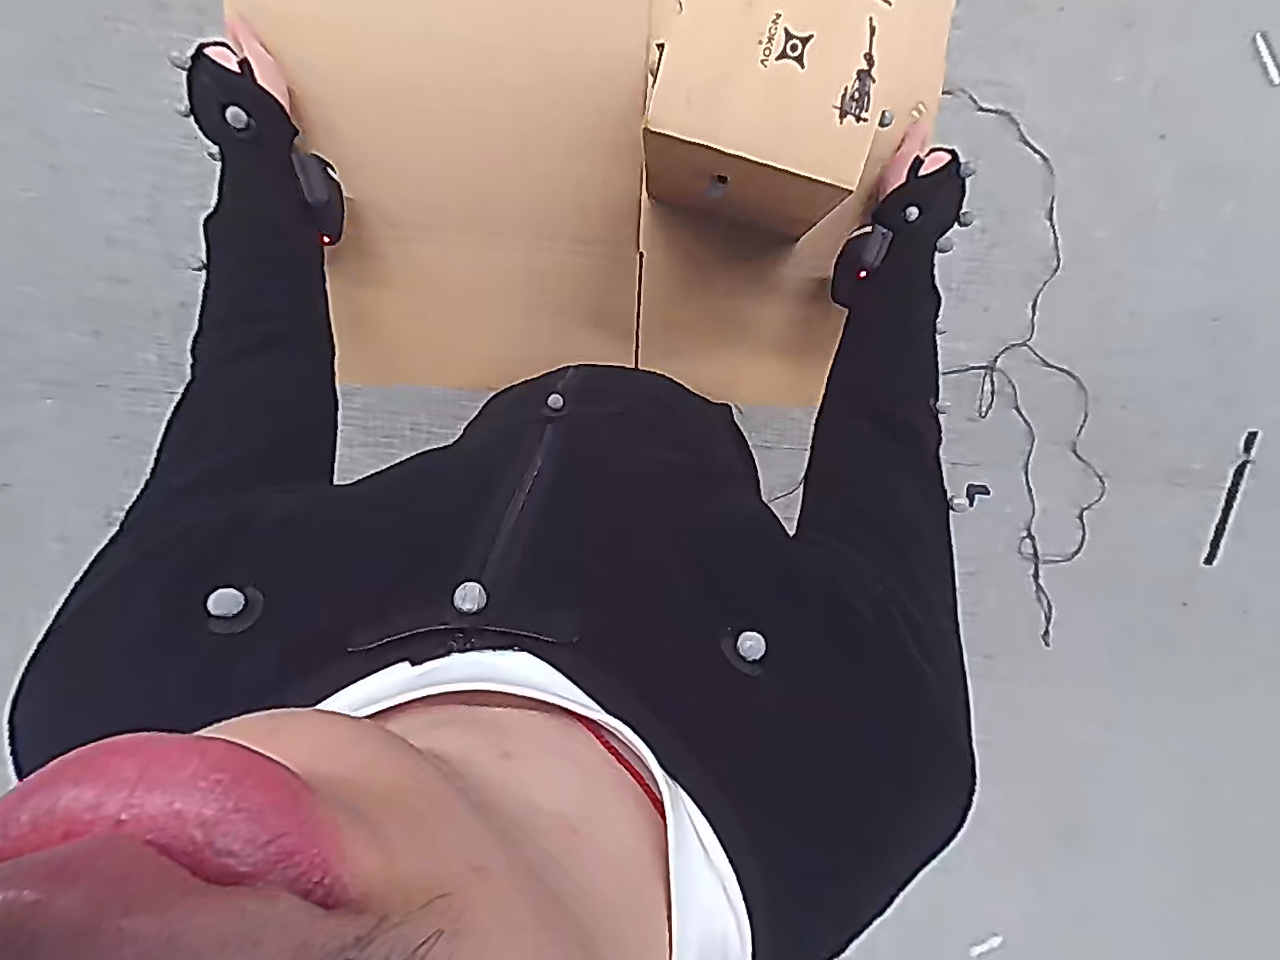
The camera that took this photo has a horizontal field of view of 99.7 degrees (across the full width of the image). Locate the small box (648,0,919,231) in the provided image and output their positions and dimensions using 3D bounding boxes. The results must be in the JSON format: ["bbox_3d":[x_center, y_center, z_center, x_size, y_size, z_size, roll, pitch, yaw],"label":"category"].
[{"bbox_3d":[0.114,-0.346,0.490,0.179,0.176,0.168,16,102,-1],"label":"small box"}]
